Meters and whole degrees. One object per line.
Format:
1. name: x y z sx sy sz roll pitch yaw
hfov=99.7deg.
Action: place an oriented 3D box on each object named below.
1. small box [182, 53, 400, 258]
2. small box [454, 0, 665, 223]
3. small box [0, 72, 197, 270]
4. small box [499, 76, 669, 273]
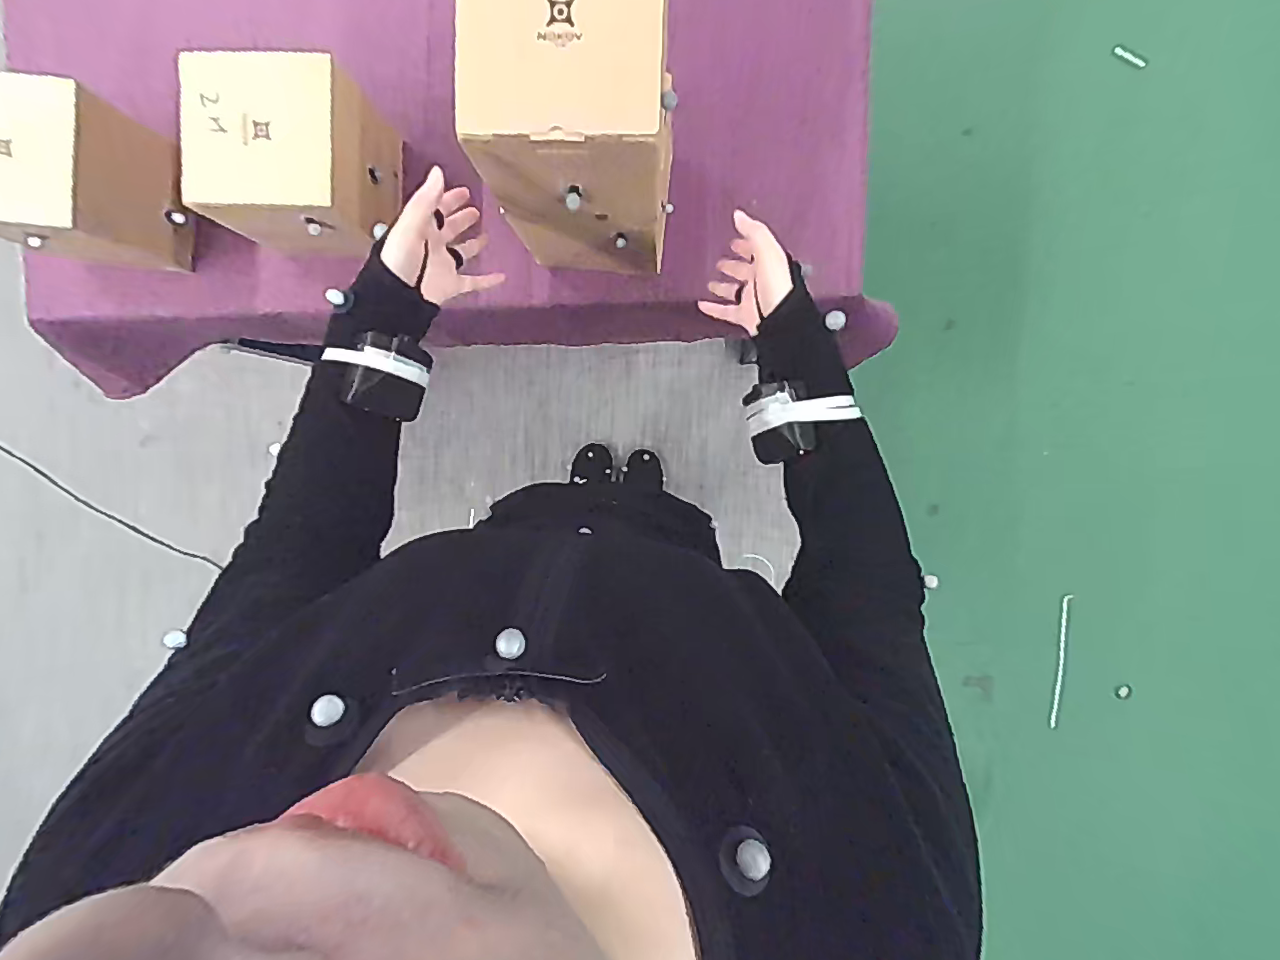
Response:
1. small box: -0.424 -0.394 0.684 0.179 0.176 0.168 3 93 2
2. small box: -0.063 -0.360 0.508 0.168 0.176 0.179 2 94 1
3. small box: -0.724 -0.385 0.698 0.179 0.176 0.168 7 94 1
4. small box: -0.059 -0.370 0.672 0.179 0.176 0.168 6 94 2
